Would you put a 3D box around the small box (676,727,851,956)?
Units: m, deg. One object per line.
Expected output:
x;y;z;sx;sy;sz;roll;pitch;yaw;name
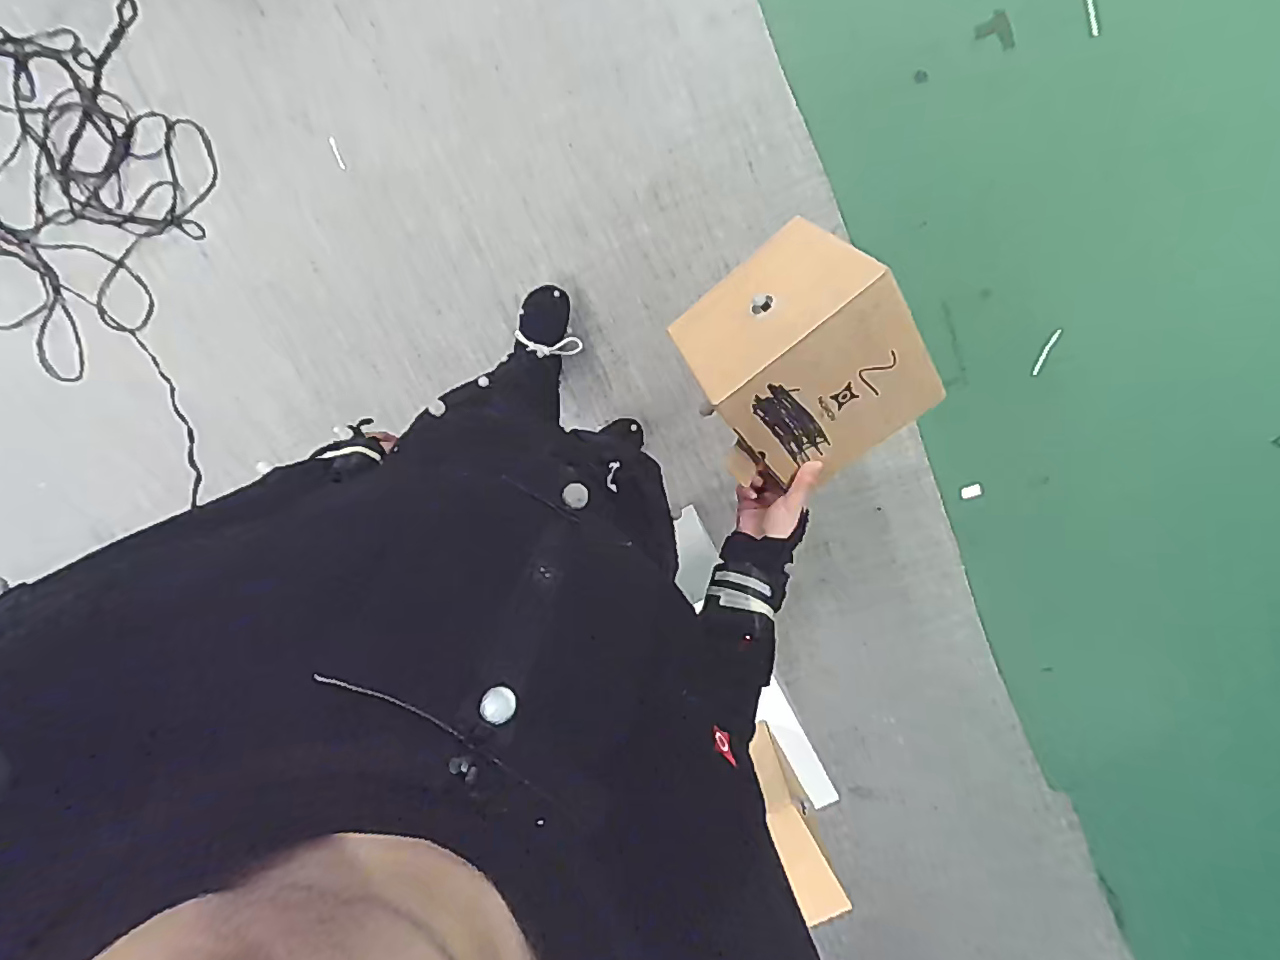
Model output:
0.162;0.493;0.760;0.168;0.176;0.179;-29;97;6;small box
